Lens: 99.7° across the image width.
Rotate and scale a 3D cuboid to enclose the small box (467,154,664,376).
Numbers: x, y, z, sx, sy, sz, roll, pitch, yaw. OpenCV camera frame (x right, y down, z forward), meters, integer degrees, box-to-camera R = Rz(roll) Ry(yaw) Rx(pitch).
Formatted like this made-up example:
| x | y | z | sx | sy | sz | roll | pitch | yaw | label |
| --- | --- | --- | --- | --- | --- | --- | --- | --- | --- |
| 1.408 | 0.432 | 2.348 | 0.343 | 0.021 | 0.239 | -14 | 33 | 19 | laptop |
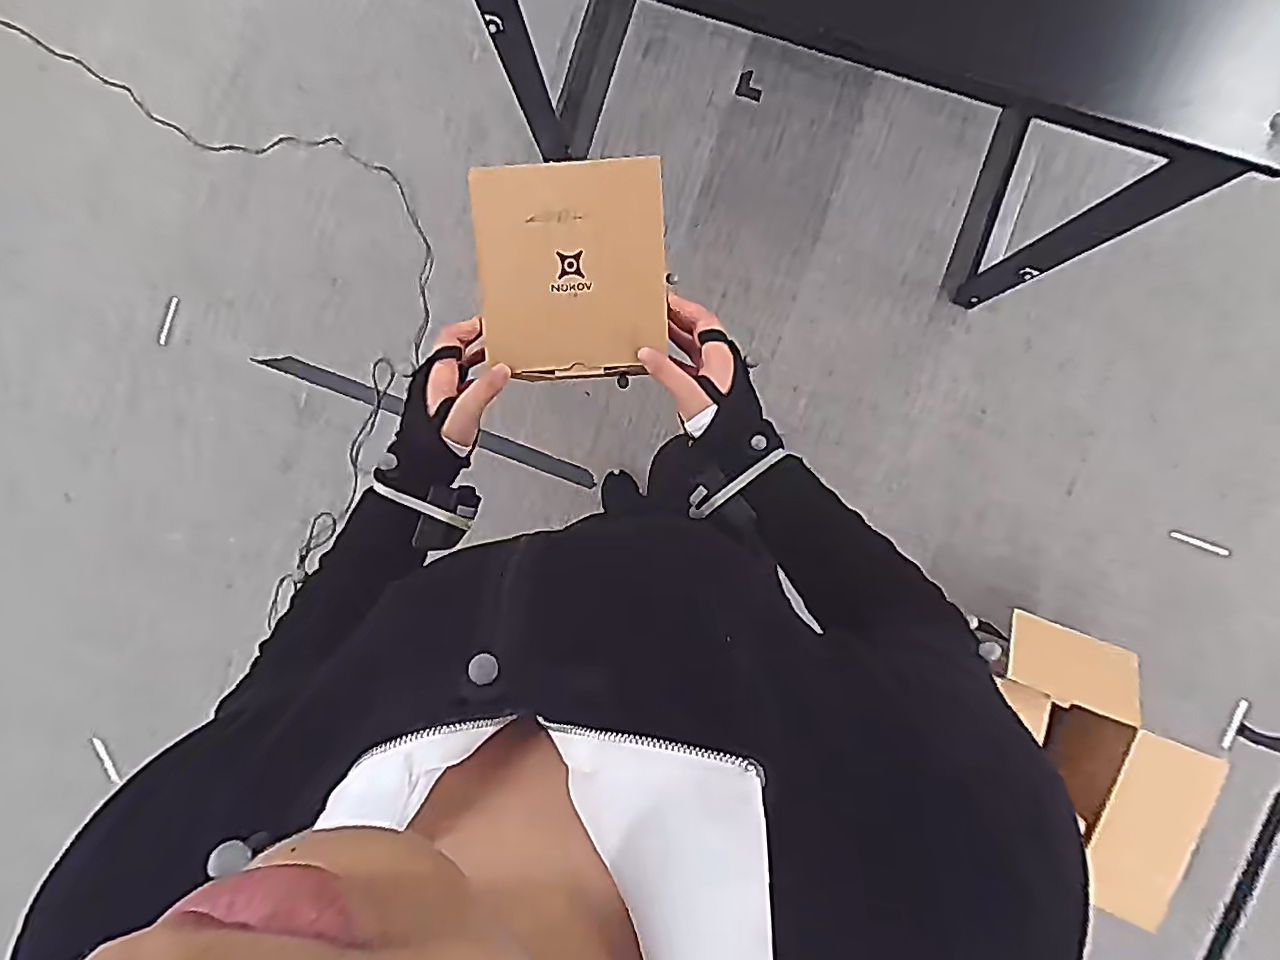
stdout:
| x | y | z | sx | sy | sz | roll | pitch | yaw | label |
| --- | --- | --- | --- | --- | --- | --- | --- | --- | --- |
| -0.061 | -0.198 | 0.549 | 0.168 | 0.176 | 0.179 | -3 | 98 | 1 | small box |
